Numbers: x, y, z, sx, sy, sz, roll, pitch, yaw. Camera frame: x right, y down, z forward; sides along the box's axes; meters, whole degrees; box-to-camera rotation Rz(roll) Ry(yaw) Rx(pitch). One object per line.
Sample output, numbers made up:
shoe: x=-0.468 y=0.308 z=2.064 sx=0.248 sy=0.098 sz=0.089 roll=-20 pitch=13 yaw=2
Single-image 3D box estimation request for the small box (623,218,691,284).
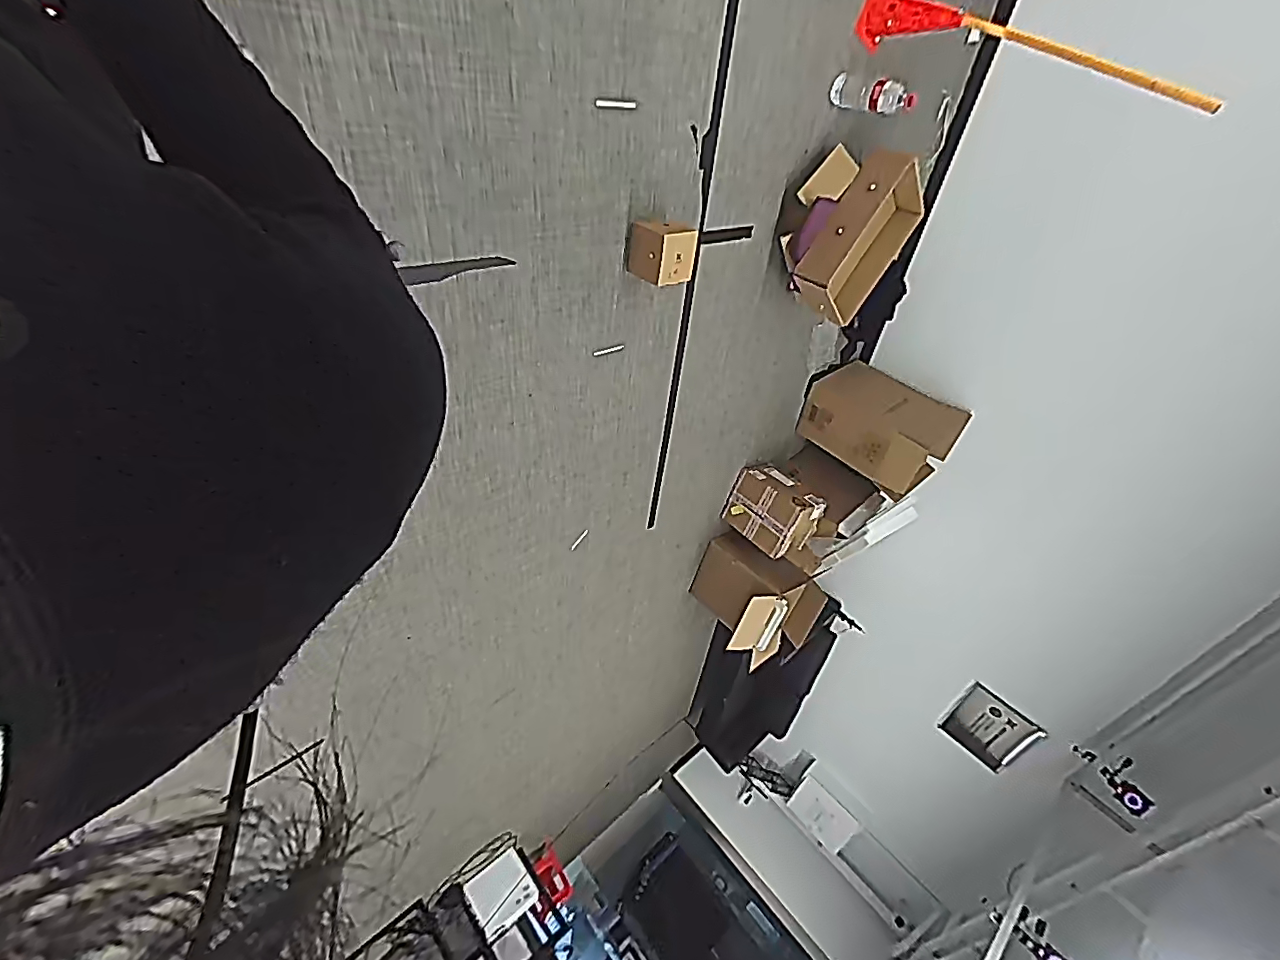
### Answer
small box: x=0.055 y=-0.815 z=1.911 sx=0.168 sy=0.176 sz=0.179 roll=-25 pitch=140 yaw=-35
